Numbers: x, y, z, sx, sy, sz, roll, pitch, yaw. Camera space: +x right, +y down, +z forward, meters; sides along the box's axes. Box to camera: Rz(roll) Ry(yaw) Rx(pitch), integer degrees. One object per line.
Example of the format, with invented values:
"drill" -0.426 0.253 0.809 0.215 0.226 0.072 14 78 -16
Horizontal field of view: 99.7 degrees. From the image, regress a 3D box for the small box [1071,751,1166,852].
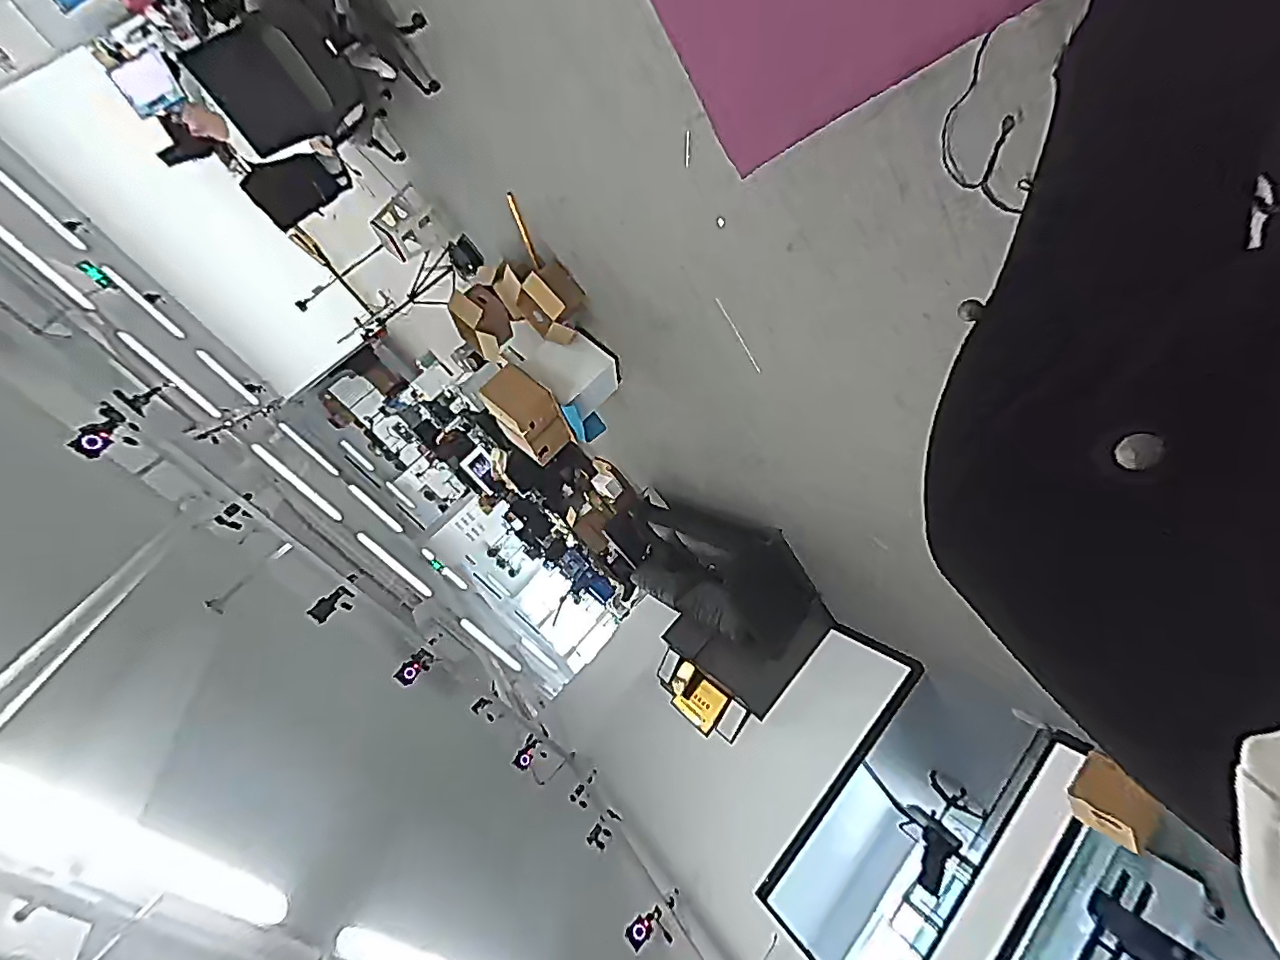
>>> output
"small box" 1.472 0.979 1.662 0.179 0.176 0.168 54 163 -26
